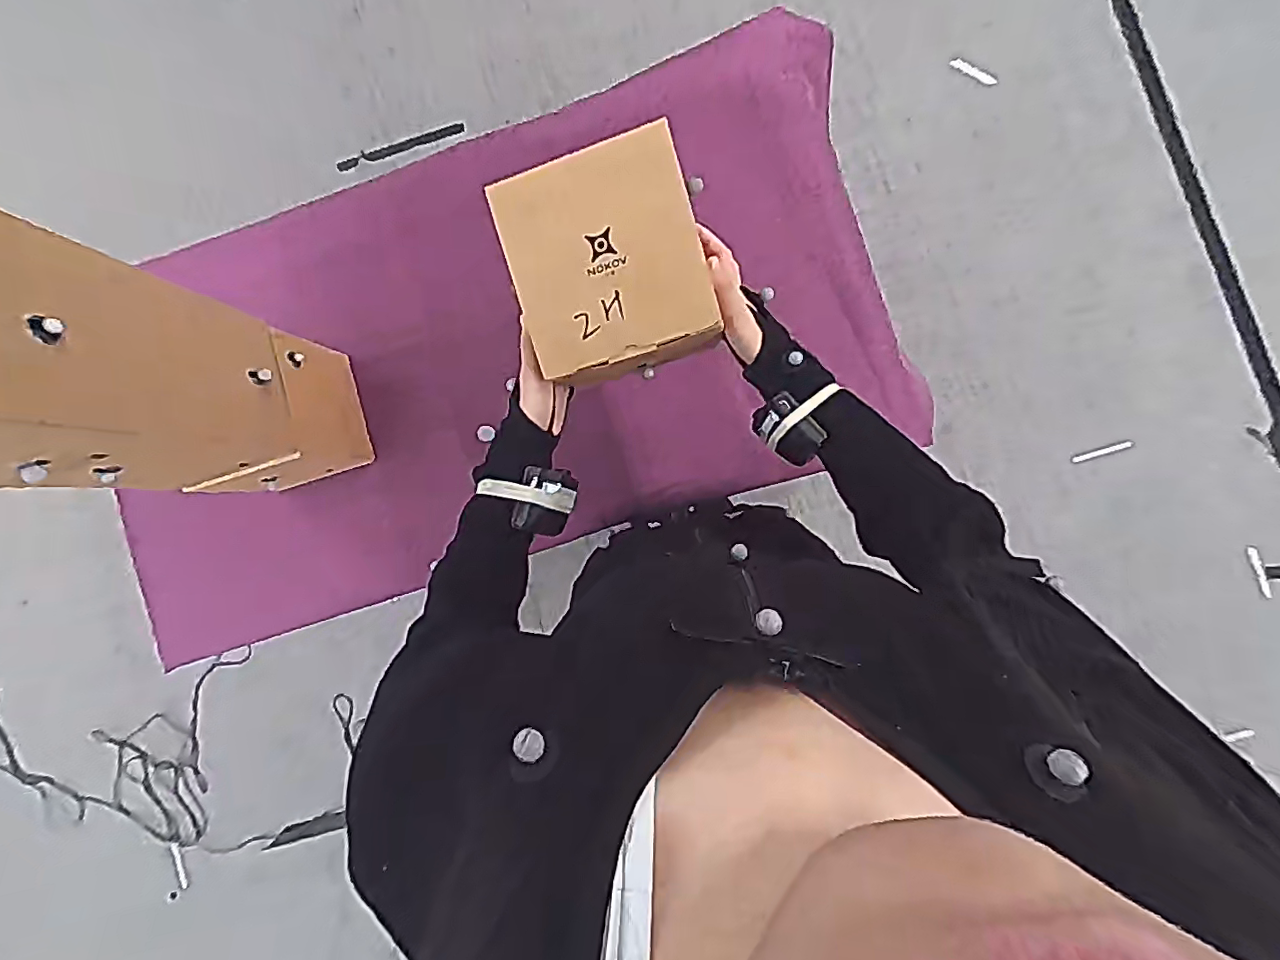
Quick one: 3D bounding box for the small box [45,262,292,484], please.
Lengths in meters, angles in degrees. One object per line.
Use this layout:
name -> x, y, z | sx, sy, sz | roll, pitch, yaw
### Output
small box -> -0.528, -0.100, 0.592 | 0.168, 0.176, 0.179 | -17, 87, 4

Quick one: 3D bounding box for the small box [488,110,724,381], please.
small box -> -0.021, -0.206, 0.532 | 0.168, 0.176, 0.179 | -15, 96, 9

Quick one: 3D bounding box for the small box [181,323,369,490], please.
small box -> -0.513, -0.092, 0.755 | 0.168, 0.176, 0.179 | -17, 87, 4
